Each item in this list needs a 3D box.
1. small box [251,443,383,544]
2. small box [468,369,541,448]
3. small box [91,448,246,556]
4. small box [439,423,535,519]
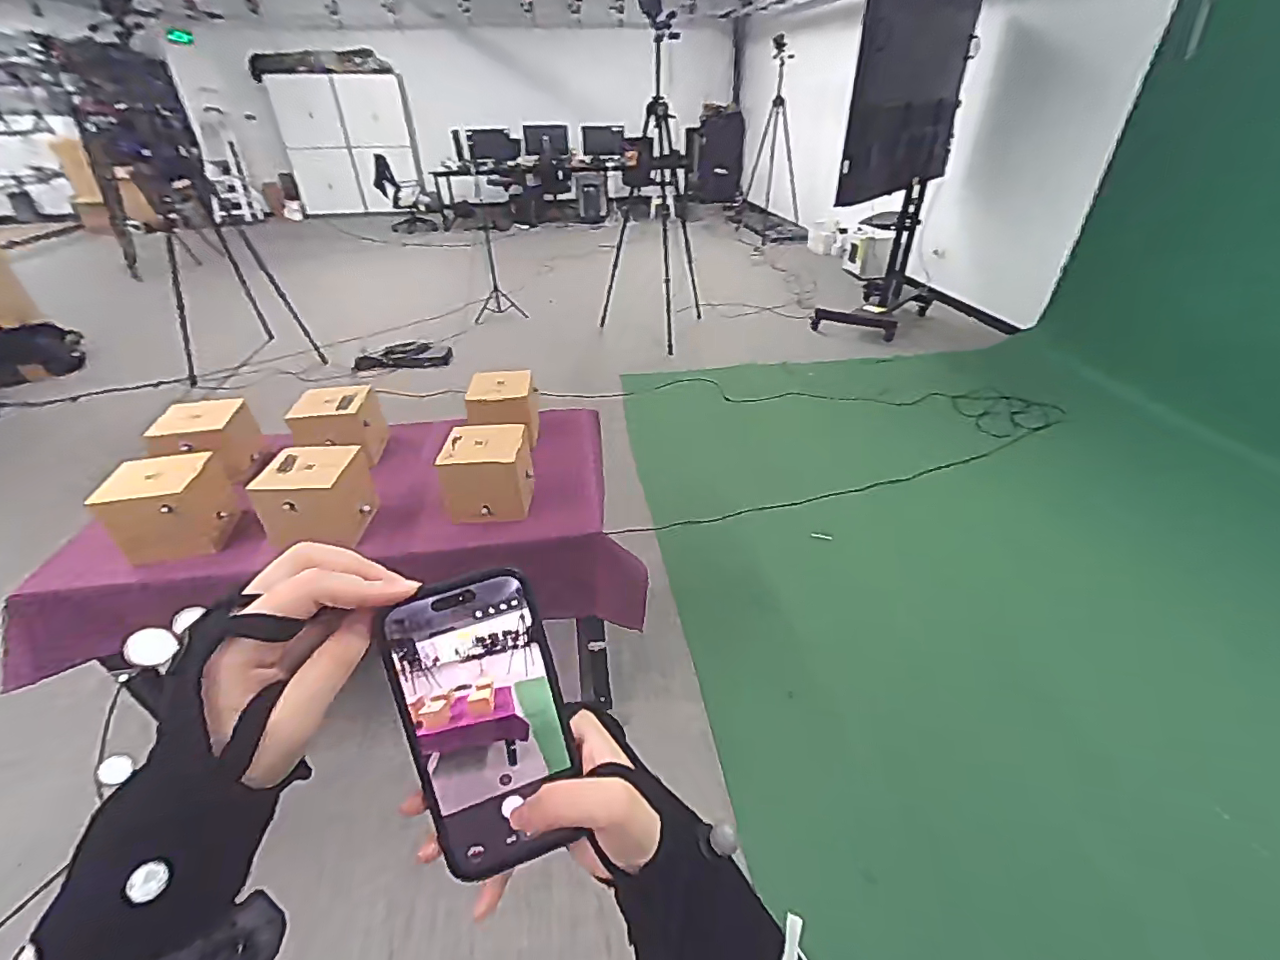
[{"bbox_3d":[-0.711,0.031,1.215,0.179,0.176,0.168,-1,35,-2],"label":"small box"},{"bbox_3d":[-0.376,-0.201,1.535,0.168,0.176,0.179,-3,36,-3],"label":"small box"},{"bbox_3d":[-1.024,0.050,1.194,0.179,0.176,0.168,-7,36,-12],"label":"small box"},{"bbox_3d":[-0.350,-0.020,1.281,0.179,0.176,0.168,-1,35,0],"label":"small box"}]
